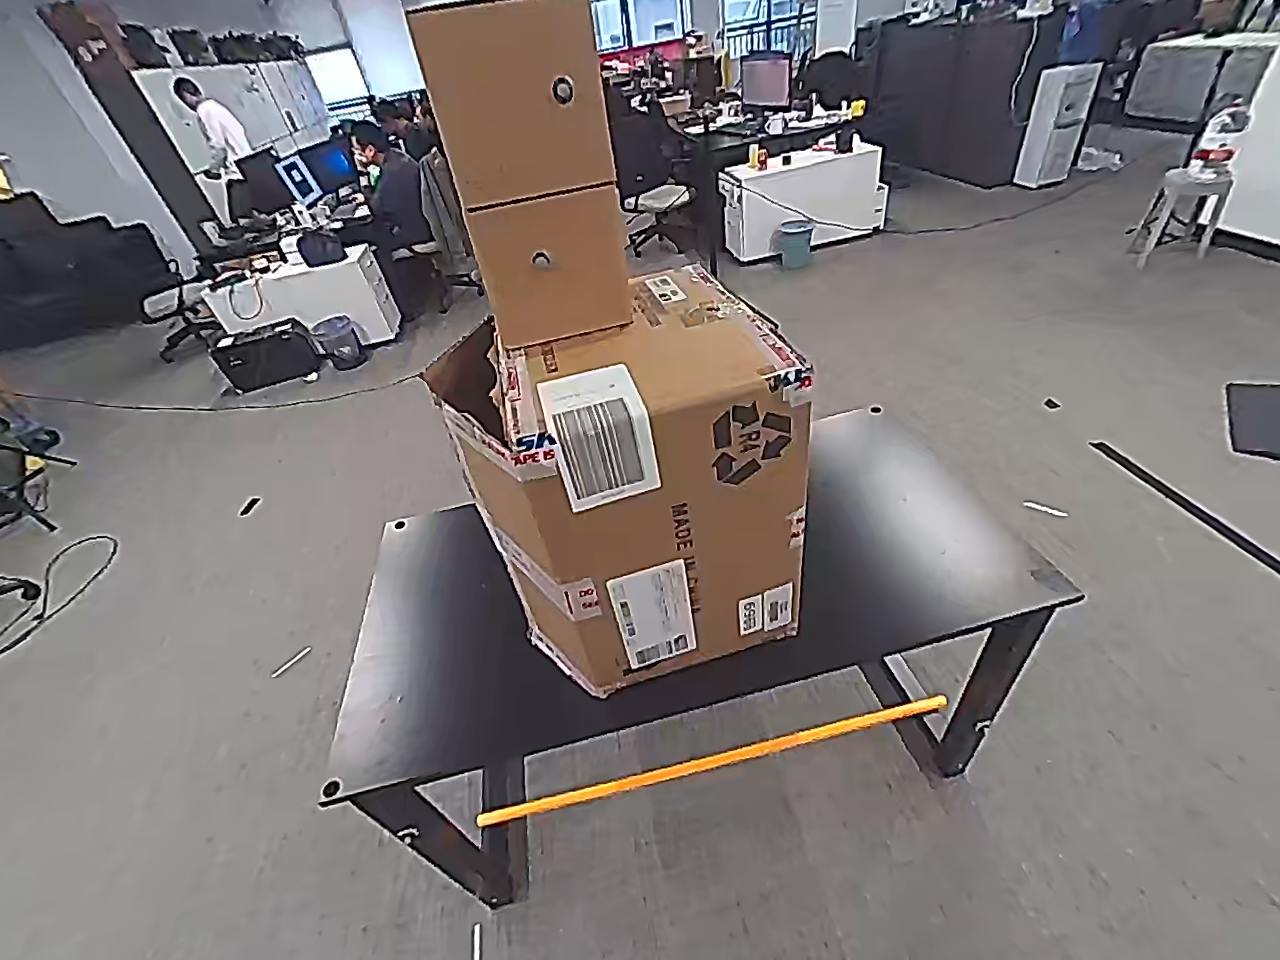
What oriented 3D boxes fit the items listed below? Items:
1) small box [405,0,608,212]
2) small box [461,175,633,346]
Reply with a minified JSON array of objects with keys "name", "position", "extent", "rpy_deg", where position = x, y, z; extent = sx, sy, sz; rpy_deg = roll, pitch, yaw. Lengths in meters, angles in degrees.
[{"name":"small box","position":[-0.141,-0.419,0.609],"extent":[0.179,0.176,0.168],"rpy_deg":[-17,37,-8]},{"name":"small box","position":[-0.120,-0.294,0.712],"extent":[0.179,0.176,0.168],"rpy_deg":[-15,38,-6]}]
